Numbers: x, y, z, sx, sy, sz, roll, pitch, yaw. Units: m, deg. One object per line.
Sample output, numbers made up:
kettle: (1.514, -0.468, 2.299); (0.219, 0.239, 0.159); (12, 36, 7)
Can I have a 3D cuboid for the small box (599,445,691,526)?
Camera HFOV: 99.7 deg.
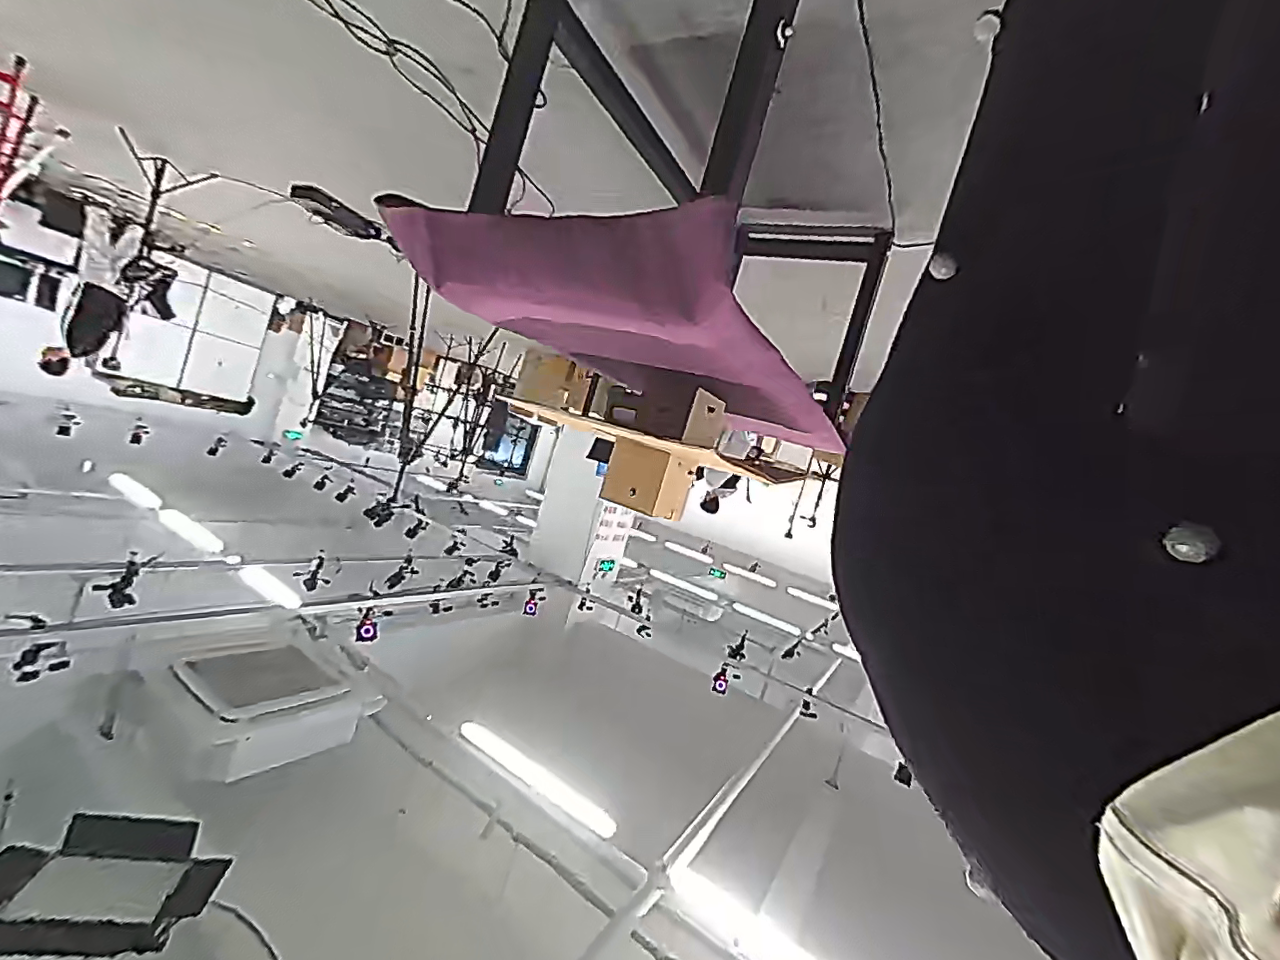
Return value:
small box: (0.021, 0.014, 1.443); (0.179, 0.176, 0.168); (18, 180, 31)
